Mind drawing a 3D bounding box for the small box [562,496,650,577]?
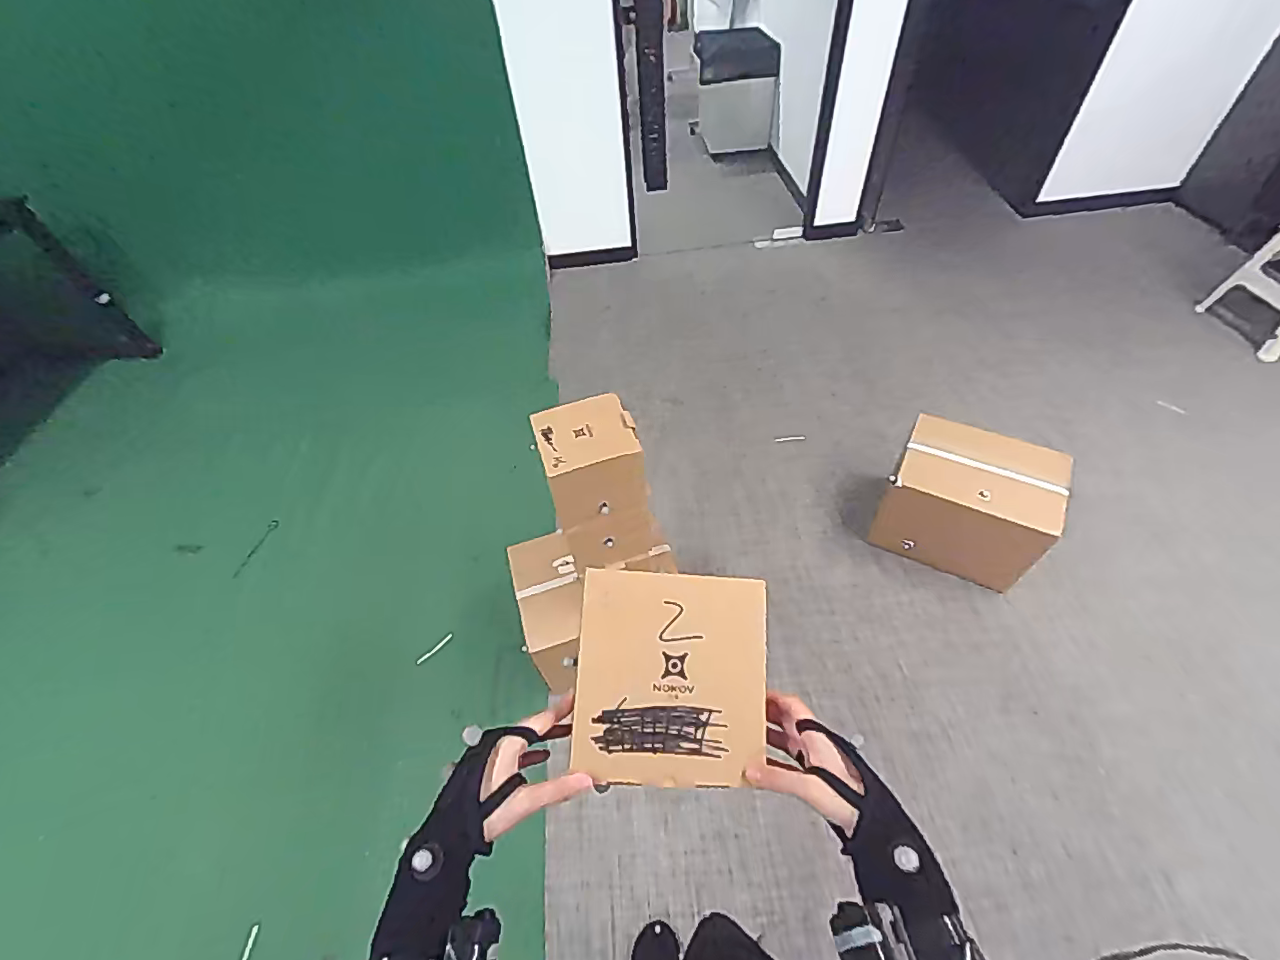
[{"bbox_3d":[-0.084,0.083,1.169,0.179,0.176,0.168,-17,51,-9],"label":"small box"}]

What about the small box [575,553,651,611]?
[{"bbox_3d":[-0.077,0.192,1.291,0.168,0.176,0.179,-16,50,-9],"label":"small box"}]

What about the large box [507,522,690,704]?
[{"bbox_3d":[-0.105,0.352,1.478,0.408,0.320,0.320,-17,49,-8],"label":"large box"}]

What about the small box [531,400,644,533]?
[{"bbox_3d":[-0.098,-0.024,1.045,0.179,0.176,0.168,-15,50,-10],"label":"small box"}]
